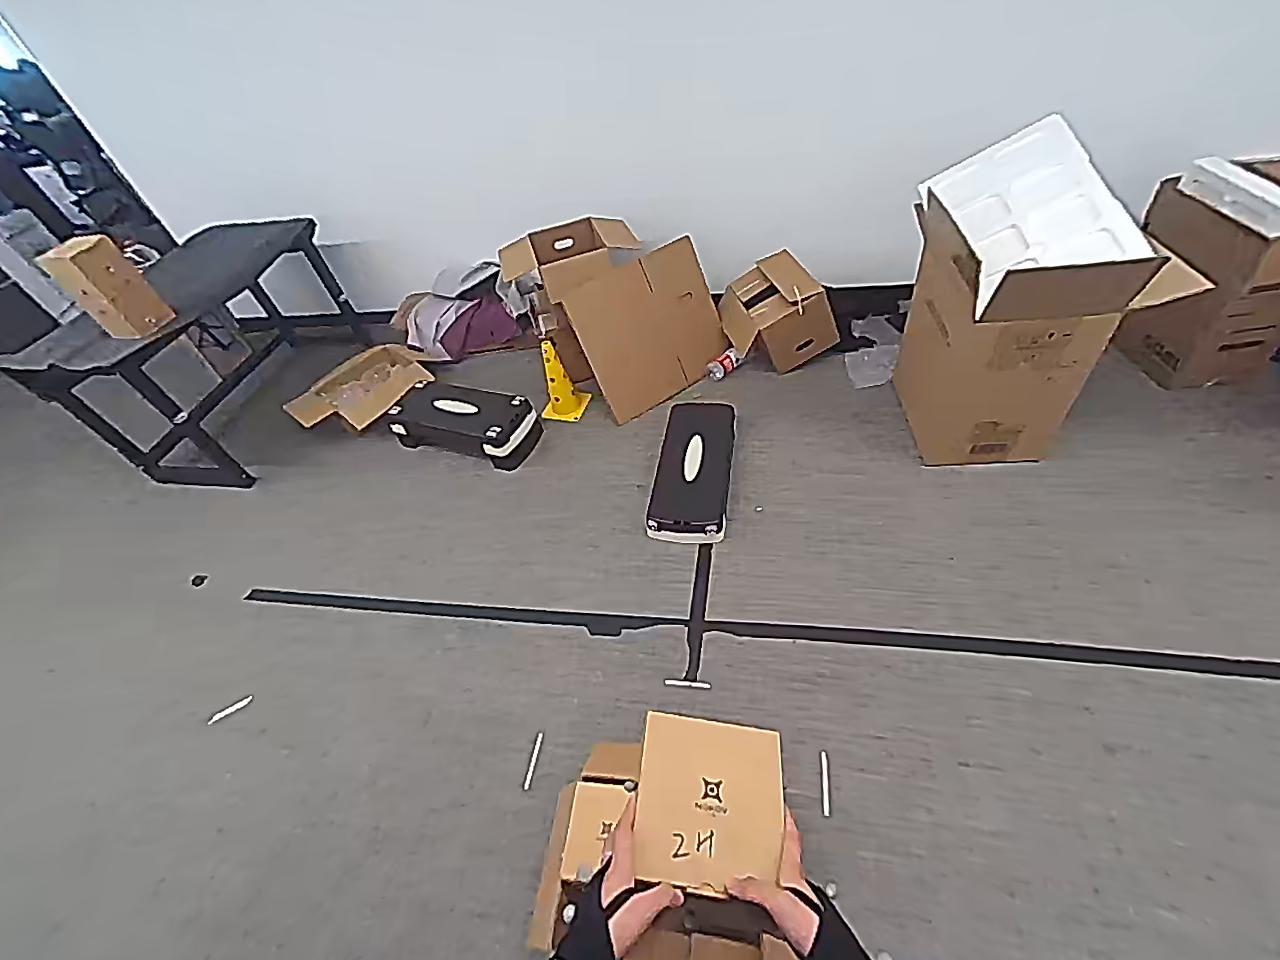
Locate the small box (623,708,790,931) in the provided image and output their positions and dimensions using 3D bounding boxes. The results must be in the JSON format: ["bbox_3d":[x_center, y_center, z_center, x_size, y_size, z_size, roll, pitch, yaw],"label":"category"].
[{"bbox_3d":[0.074,0.408,0.652,0.168,0.176,0.179,9,44,3],"label":"small box"}]
